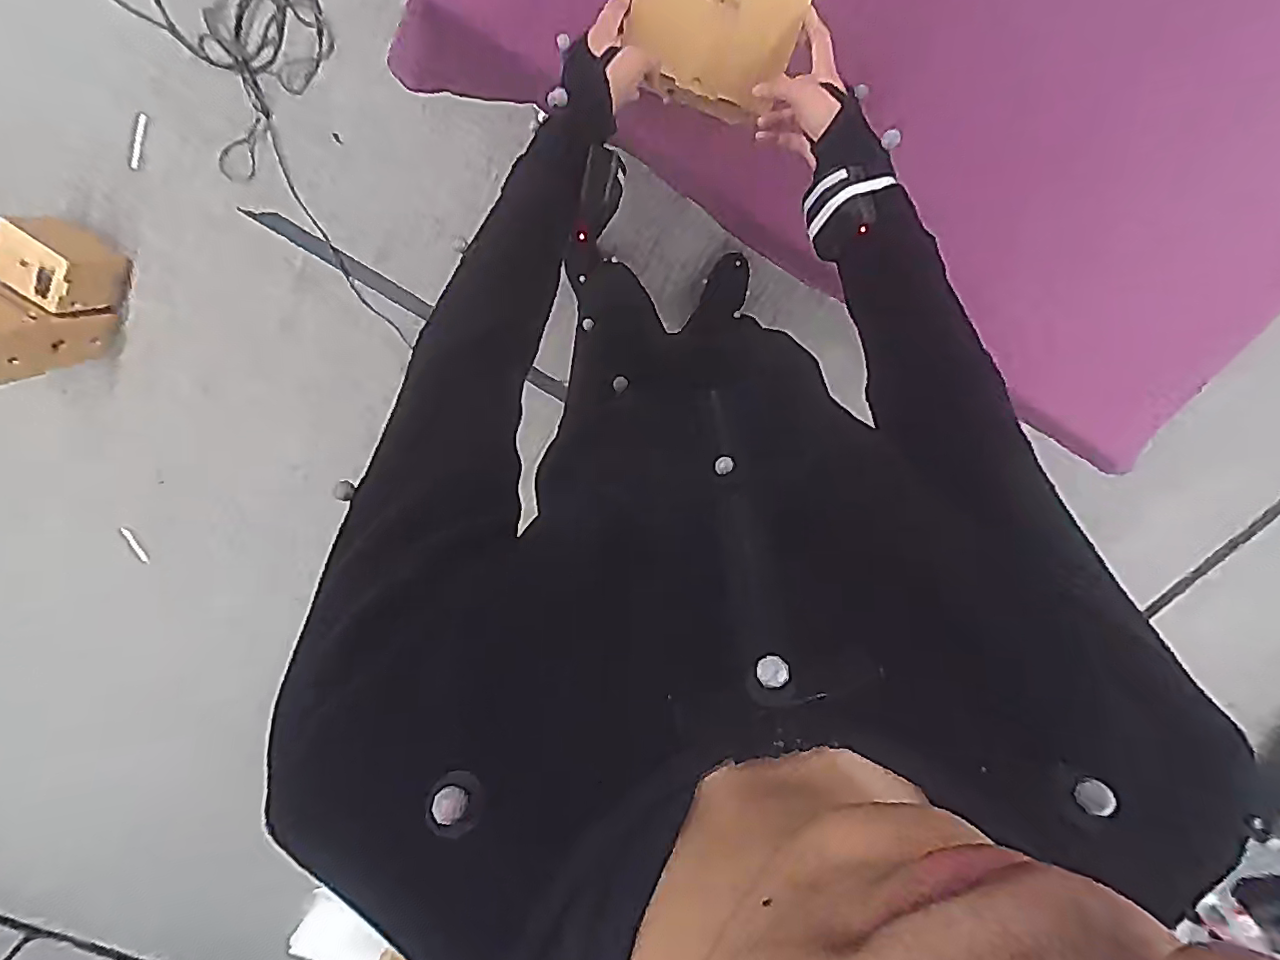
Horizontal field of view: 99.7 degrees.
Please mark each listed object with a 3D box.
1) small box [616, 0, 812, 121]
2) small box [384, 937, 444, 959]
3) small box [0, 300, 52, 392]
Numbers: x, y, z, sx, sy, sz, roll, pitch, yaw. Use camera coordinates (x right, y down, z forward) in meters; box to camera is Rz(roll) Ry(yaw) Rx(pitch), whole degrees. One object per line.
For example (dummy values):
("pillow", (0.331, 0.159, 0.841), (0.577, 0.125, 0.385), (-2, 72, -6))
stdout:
("small box", (0.075, -0.507, 0.569), (0.168, 0.176, 0.179), (13, 121, -14))
("small box", (-0.767, 1.649, 1.765), (0.168, 0.176, 0.179), (31, 113, -12))
("small box", (-1.653, -0.343, 1.358), (0.168, 0.176, 0.179), (34, 113, -12))
